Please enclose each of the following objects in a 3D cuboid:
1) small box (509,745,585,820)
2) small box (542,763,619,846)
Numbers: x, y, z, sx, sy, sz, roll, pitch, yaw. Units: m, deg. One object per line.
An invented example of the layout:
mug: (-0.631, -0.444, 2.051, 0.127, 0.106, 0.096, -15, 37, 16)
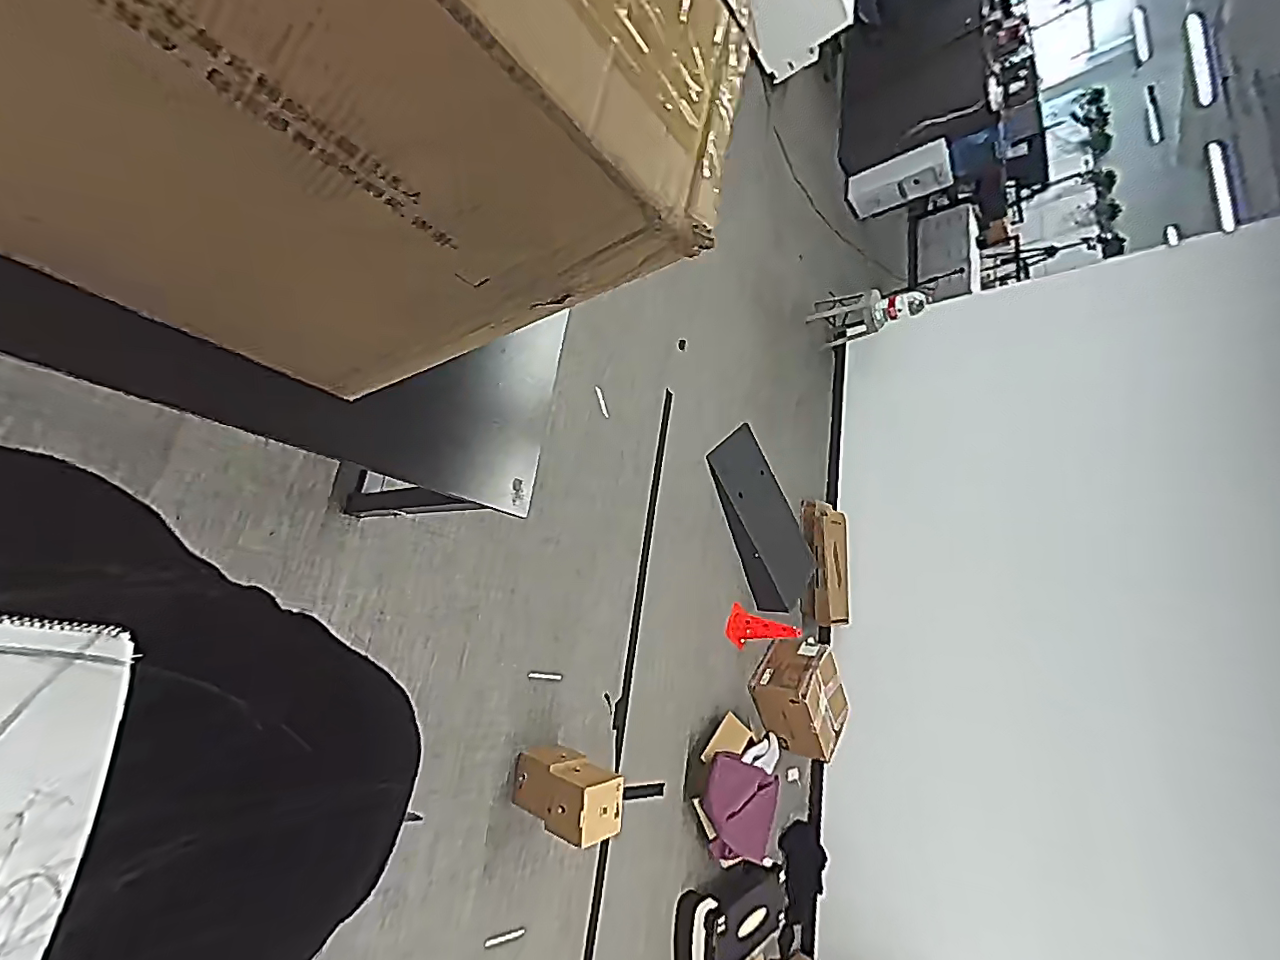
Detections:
small box: (-0.309, 1.004, 1.810, 0.179, 0.176, 0.168, 17, 72, -46)
small box: (-0.188, 1.009, 1.698, 0.179, 0.176, 0.168, 16, 73, -47)
